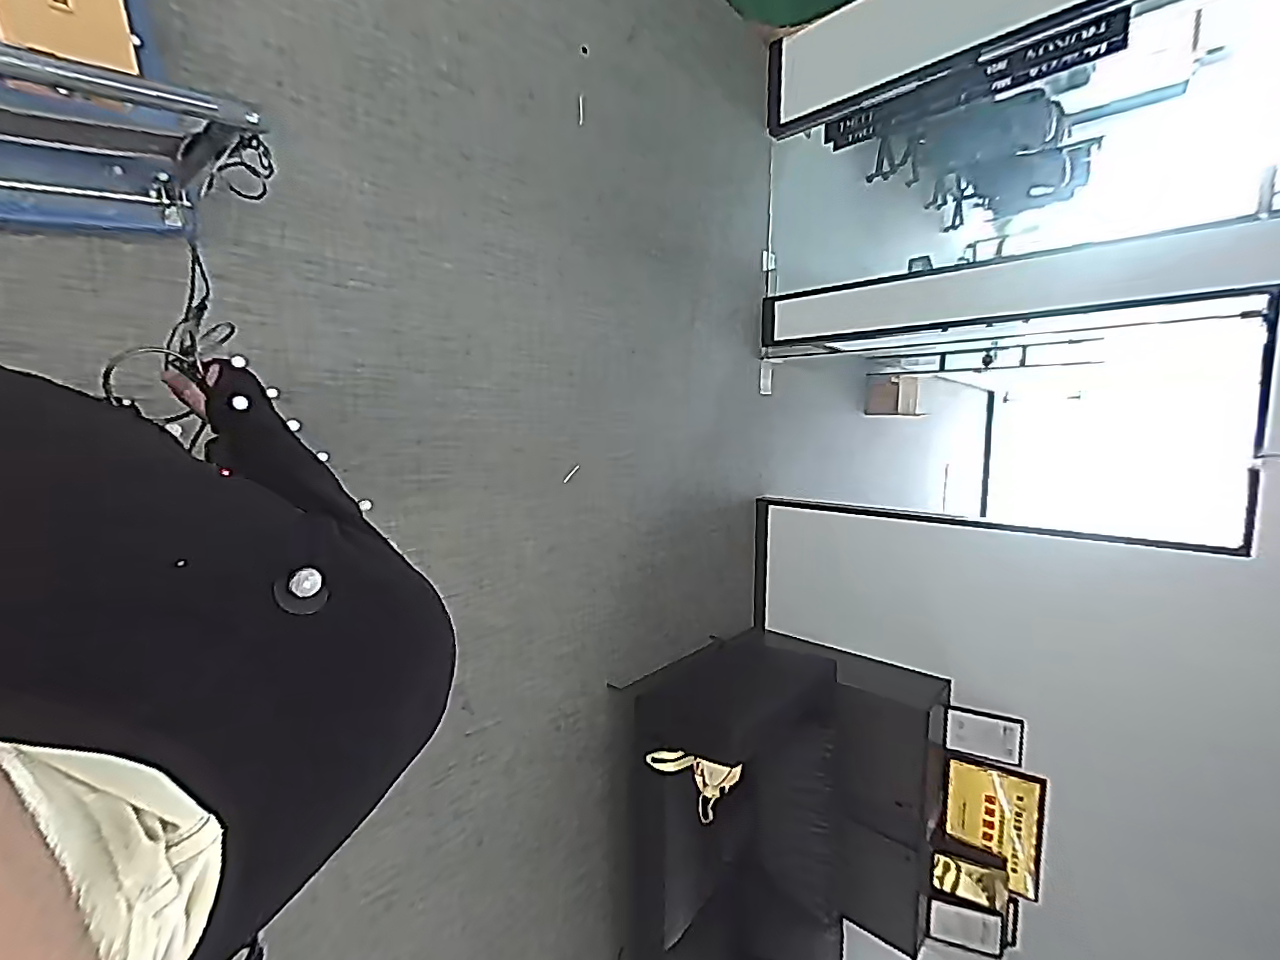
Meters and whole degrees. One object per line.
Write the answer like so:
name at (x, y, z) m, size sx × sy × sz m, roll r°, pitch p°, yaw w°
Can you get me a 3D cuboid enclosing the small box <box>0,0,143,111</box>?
small box at (-0.995, -0.781, 0.930) m, size 0.168 × 0.176 × 0.179 m, roll -17°, pitch 107°, yaw -46°
